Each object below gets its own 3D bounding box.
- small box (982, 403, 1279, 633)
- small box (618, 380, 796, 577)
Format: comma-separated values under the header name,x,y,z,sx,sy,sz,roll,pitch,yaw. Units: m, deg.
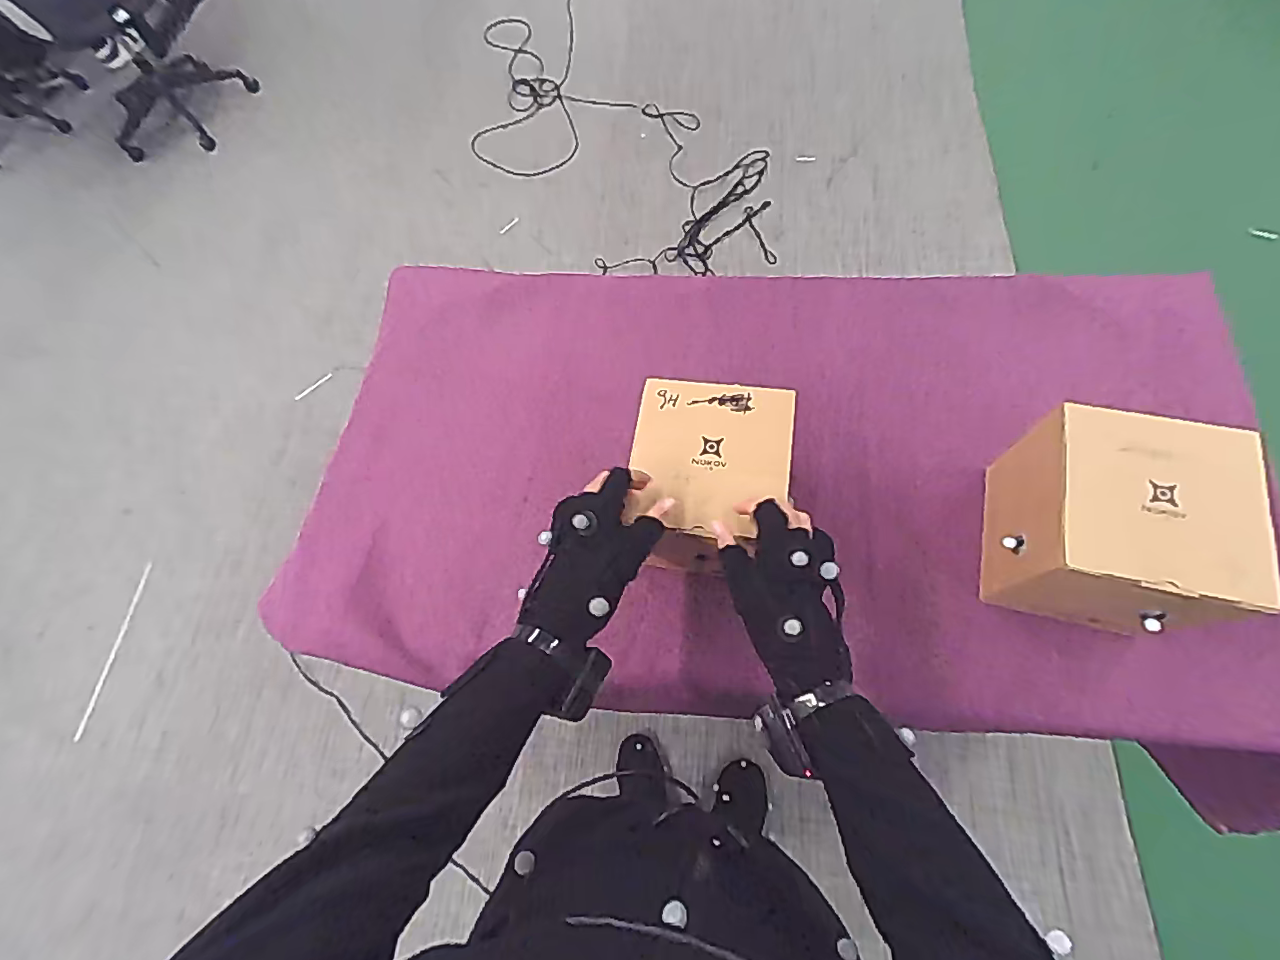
name,x,y,z,sx,sy,sz,roll,pitch,yaw
small box,0.483,0.048,0.564,0.168,0.176,0.179,13,69,12
small box,0.082,0.007,0.634,0.168,0.176,0.179,7,69,10
